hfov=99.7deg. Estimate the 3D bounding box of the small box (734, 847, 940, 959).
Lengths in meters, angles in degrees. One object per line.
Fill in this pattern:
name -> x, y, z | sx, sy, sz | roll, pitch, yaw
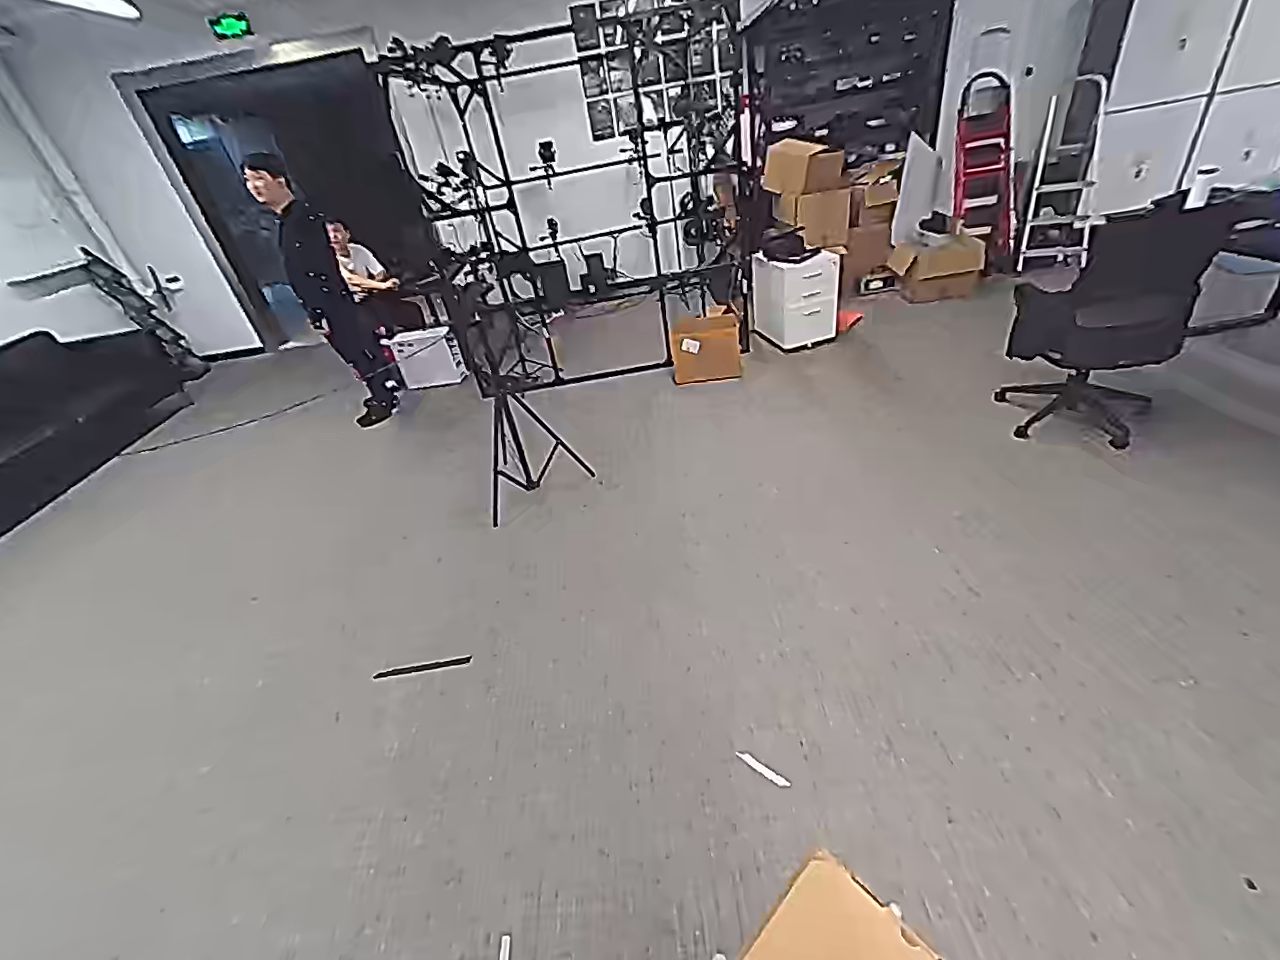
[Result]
small box -> 0.168, 0.454, 0.457 | 0.168, 0.176, 0.179 | 35, 69, 31
